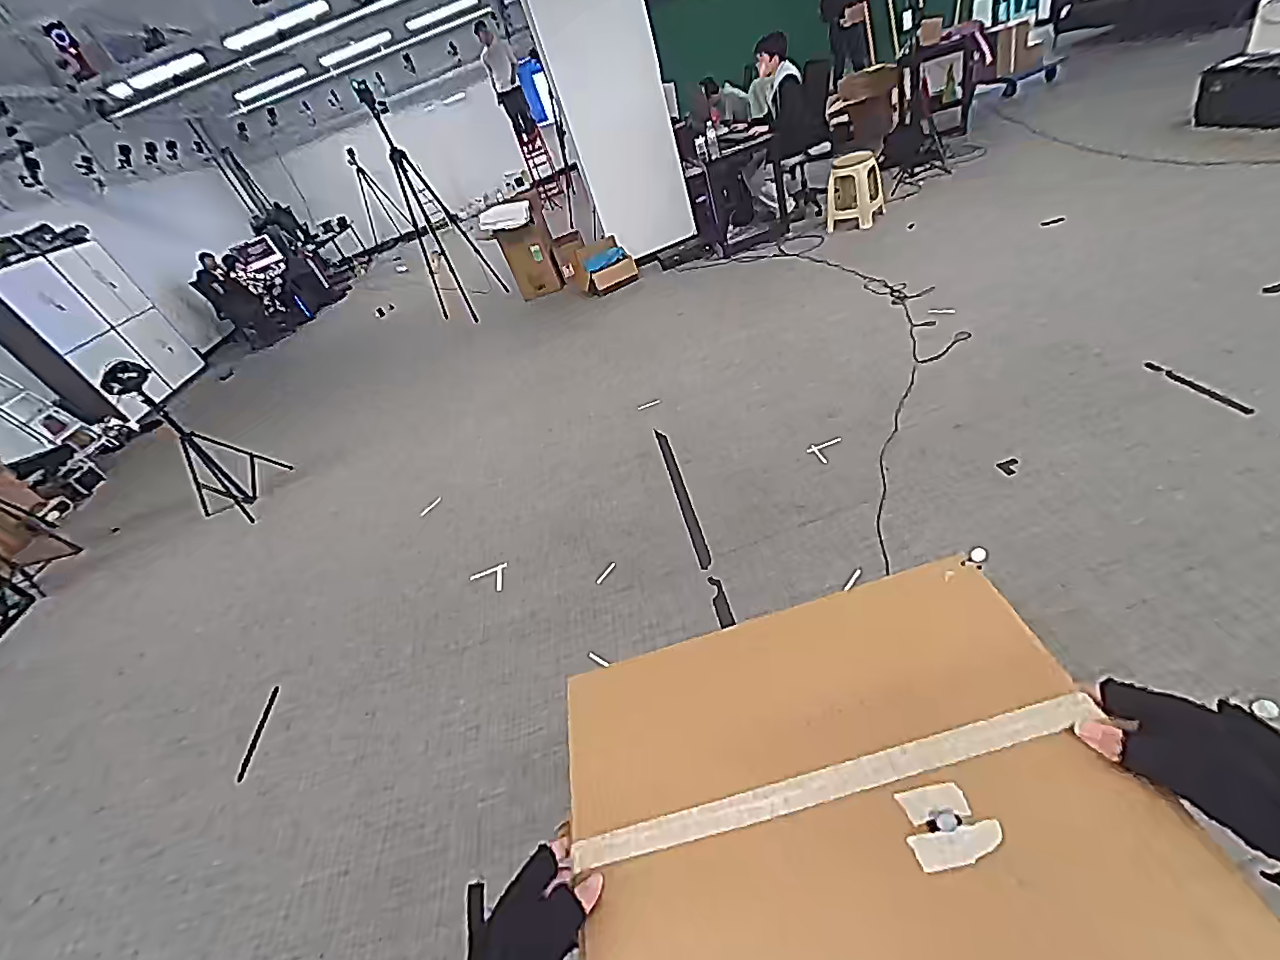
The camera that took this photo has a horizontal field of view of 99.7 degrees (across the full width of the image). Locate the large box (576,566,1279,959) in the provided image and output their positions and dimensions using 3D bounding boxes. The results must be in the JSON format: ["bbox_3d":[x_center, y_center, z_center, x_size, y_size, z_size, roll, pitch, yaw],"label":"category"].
[{"bbox_3d":[0.188,0.348,0.509,0.408,0.320,0.320,-19,39,4],"label":"large box"}]
